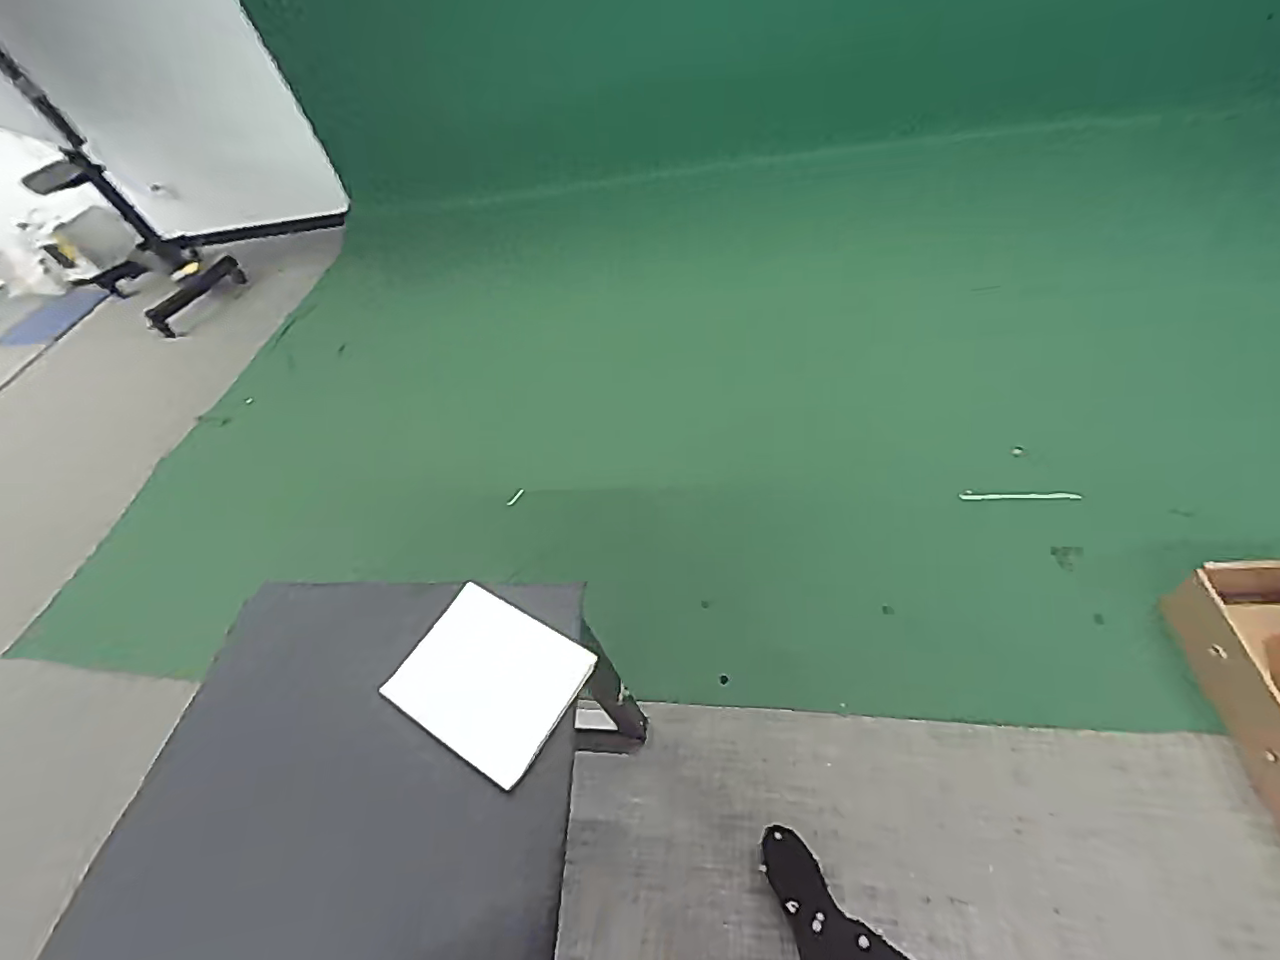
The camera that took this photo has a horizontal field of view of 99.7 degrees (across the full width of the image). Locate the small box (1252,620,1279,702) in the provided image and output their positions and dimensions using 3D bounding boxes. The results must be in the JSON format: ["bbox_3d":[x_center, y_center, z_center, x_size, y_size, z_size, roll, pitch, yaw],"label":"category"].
[{"bbox_3d":[1.449,0.389,1.118,0.168,0.176,0.179,8,56,17],"label":"small box"}]
